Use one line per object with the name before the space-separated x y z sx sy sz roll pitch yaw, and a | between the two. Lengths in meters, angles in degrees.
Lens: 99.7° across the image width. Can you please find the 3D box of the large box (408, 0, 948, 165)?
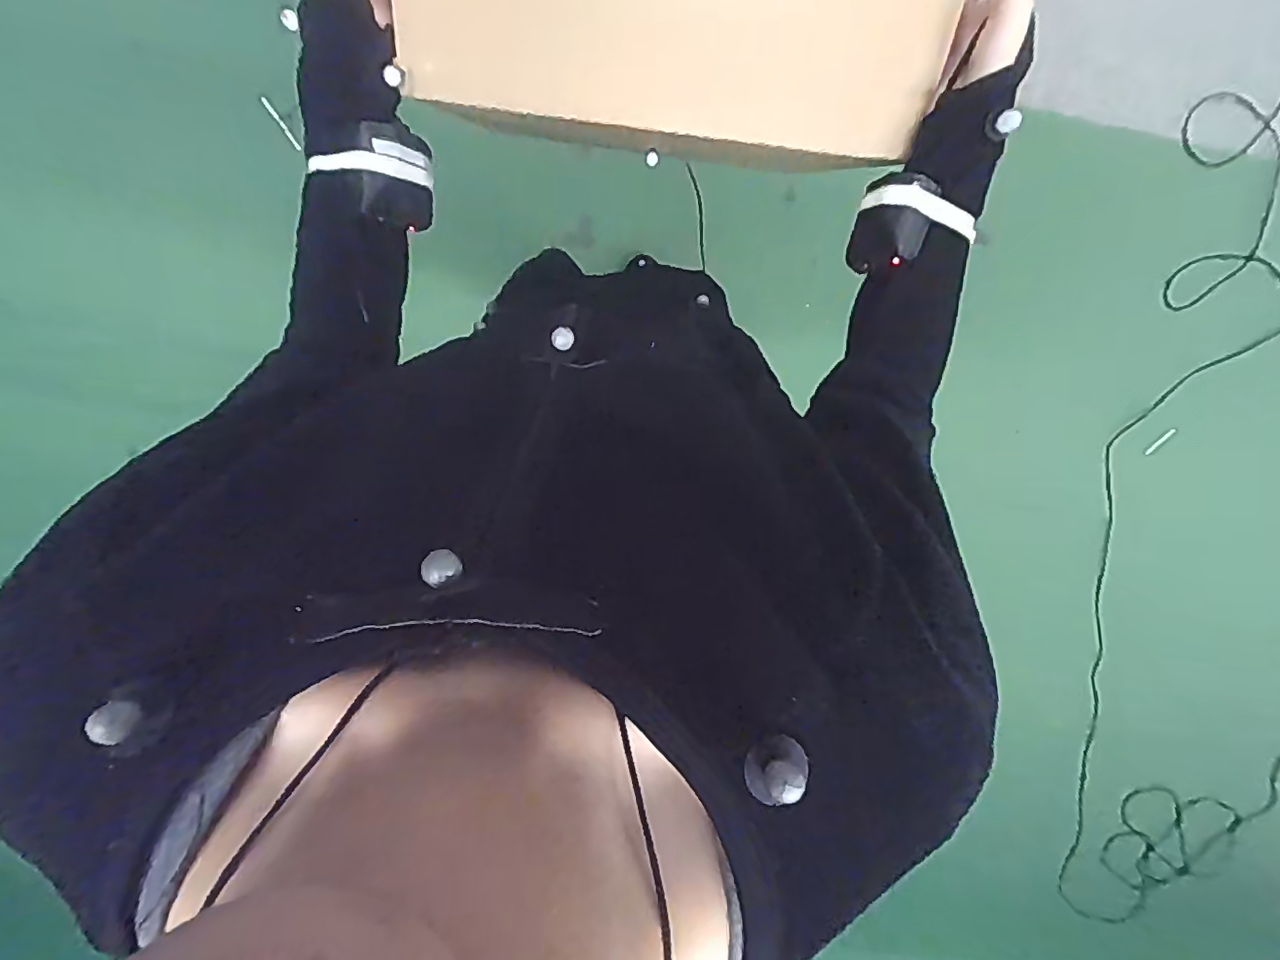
large box | 0.033 -0.483 0.493 0.408 0.320 0.320 4 118 -5
